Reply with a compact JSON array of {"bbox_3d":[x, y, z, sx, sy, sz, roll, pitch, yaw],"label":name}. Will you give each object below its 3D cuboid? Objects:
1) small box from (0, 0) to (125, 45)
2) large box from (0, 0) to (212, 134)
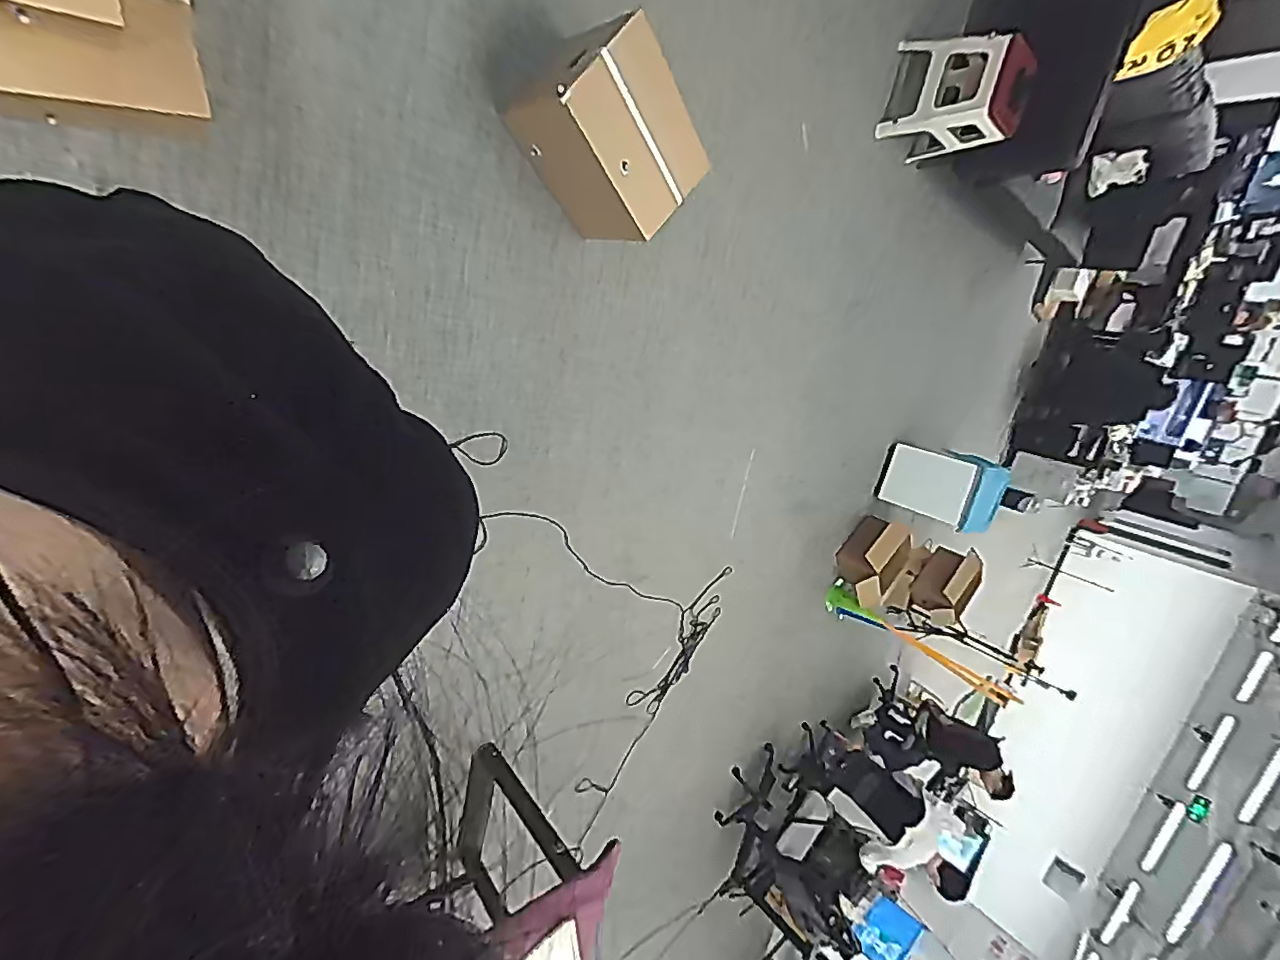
[{"bbox_3d":[-0.743,-0.646,0.635,0.179,0.176,0.168,-14,120,-39],"label":"small box"},{"bbox_3d":[-0.923,-0.720,0.789,0.408,0.320,0.320,-17,119,-36],"label":"large box"}]
